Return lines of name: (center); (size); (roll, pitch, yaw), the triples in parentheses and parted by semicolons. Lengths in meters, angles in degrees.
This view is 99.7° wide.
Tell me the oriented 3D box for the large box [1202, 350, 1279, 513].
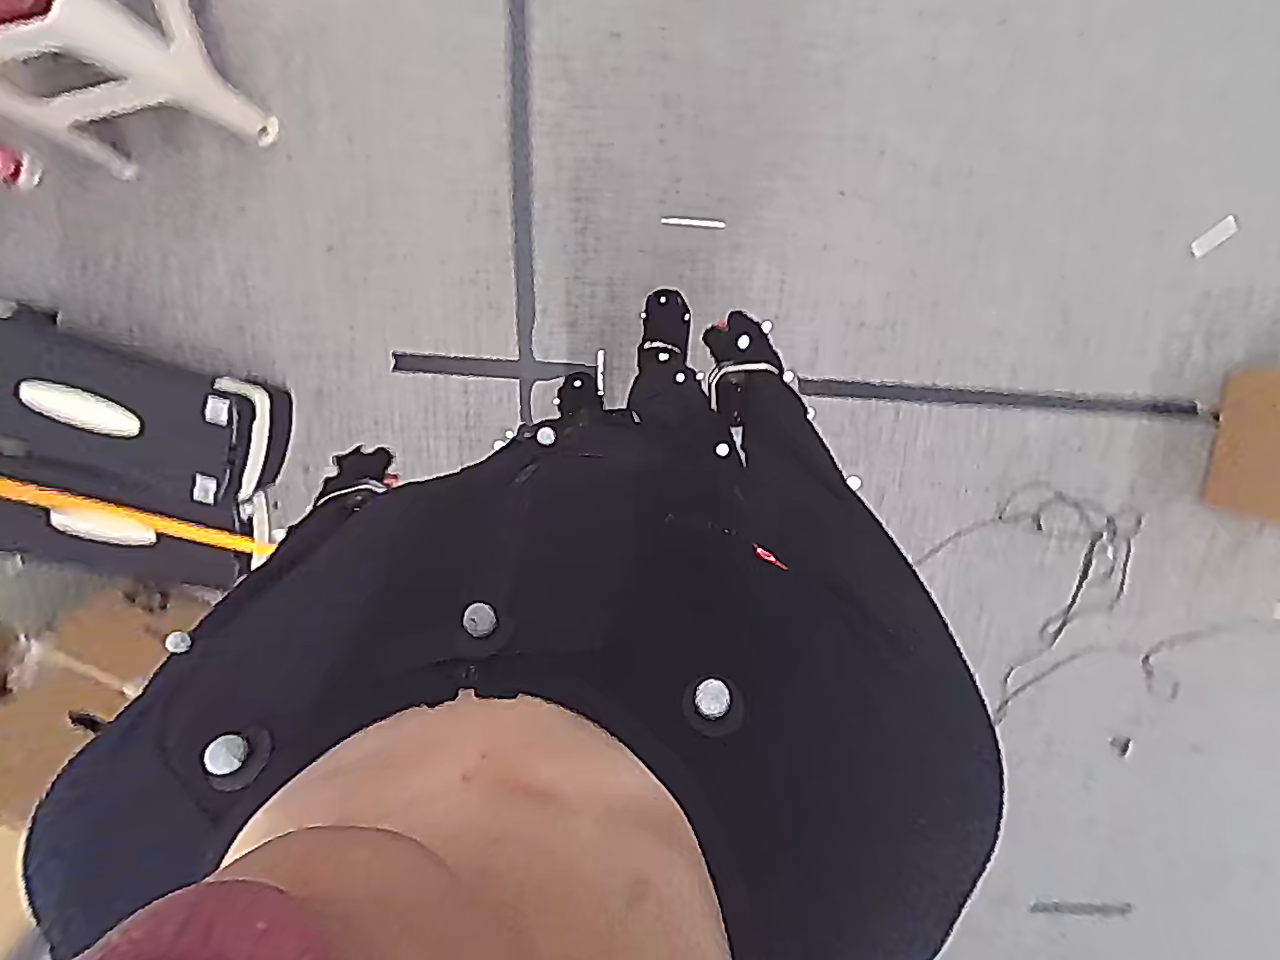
large box: (1.792, -0.133, 1.406); (0.320, 0.320, 0.408); (-6, 106, -1)
